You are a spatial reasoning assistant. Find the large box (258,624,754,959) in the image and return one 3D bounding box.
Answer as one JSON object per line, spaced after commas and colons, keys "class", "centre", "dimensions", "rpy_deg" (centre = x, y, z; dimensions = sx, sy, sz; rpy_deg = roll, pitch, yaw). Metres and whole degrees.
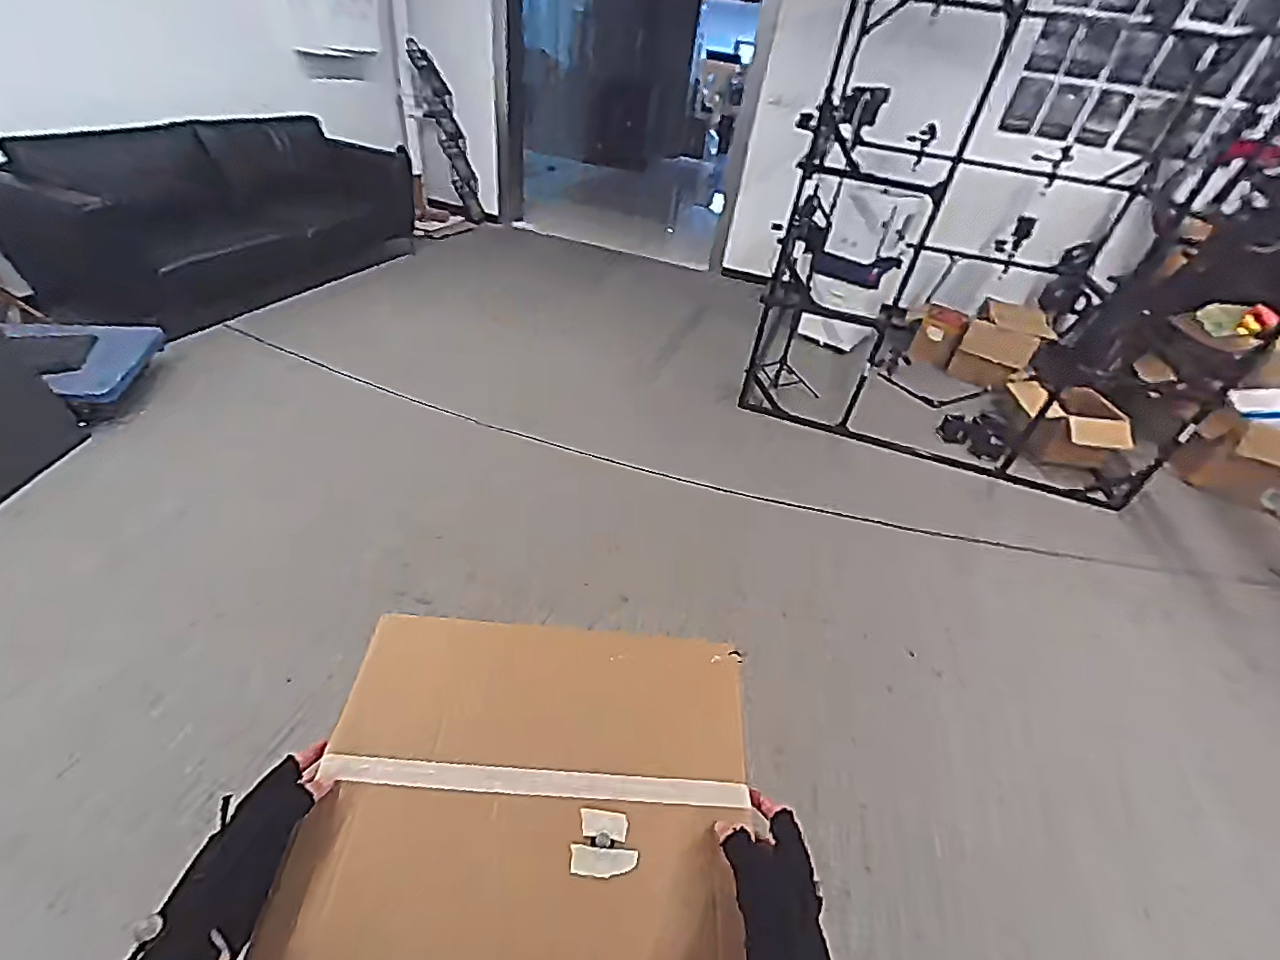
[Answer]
{"class": "large box", "centre": [-0.117, 0.392, 0.633], "dimensions": [0.408, 0.320, 0.320], "rpy_deg": [6, 48, -3]}
